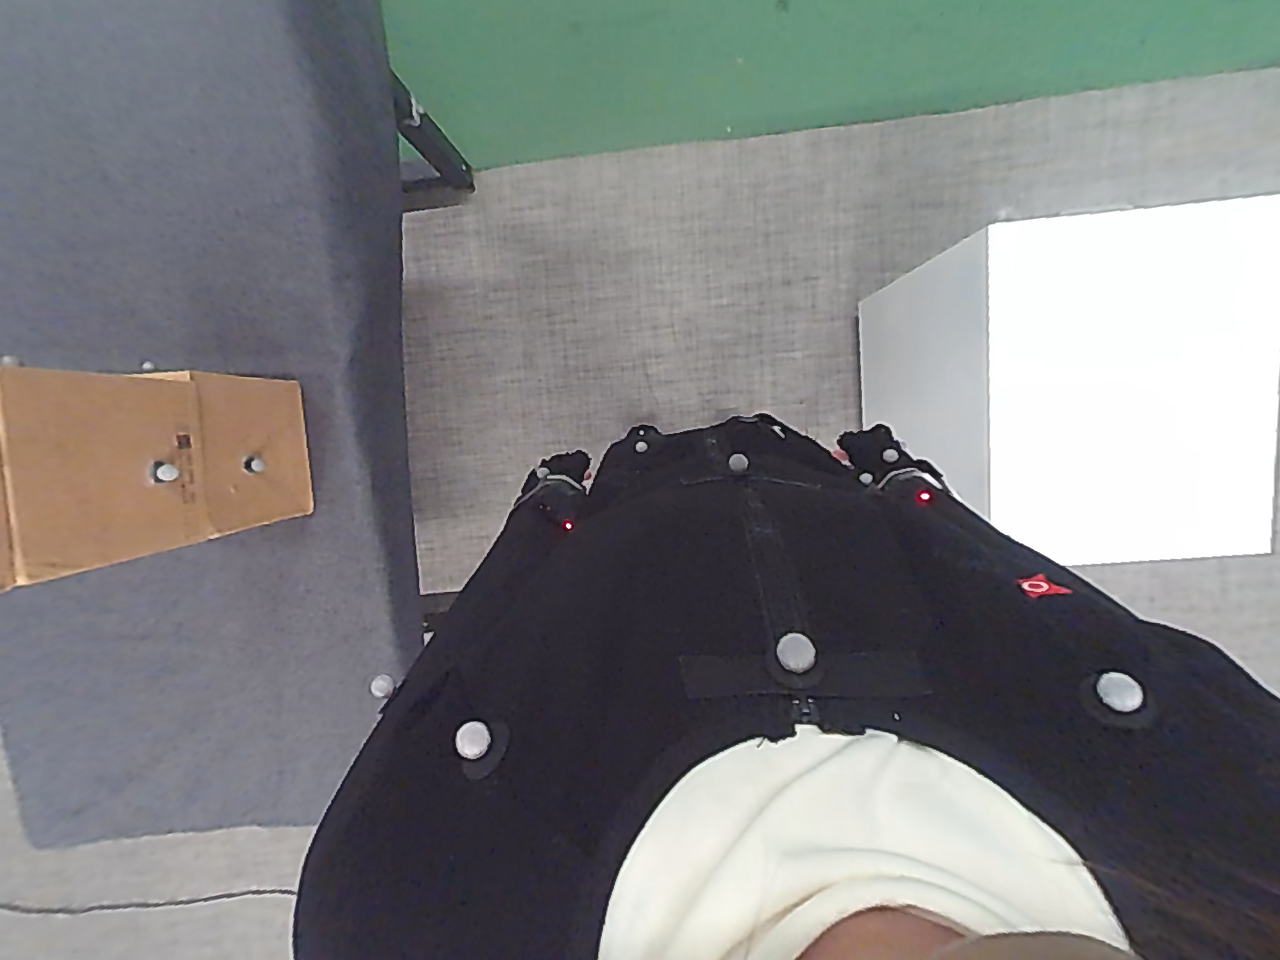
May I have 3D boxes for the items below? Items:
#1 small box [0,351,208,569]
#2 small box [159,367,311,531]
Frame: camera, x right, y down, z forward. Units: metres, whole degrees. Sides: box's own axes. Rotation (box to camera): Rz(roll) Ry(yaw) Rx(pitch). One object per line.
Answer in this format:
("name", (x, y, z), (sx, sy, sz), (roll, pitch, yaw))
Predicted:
("small box", (-0.548, -0.021, 0.489), (0.179, 0.176, 0.168), (-2, 97, 6))
("small box", (-0.531, -0.042, 0.652), (0.168, 0.176, 0.179), (-2, 98, 5))
